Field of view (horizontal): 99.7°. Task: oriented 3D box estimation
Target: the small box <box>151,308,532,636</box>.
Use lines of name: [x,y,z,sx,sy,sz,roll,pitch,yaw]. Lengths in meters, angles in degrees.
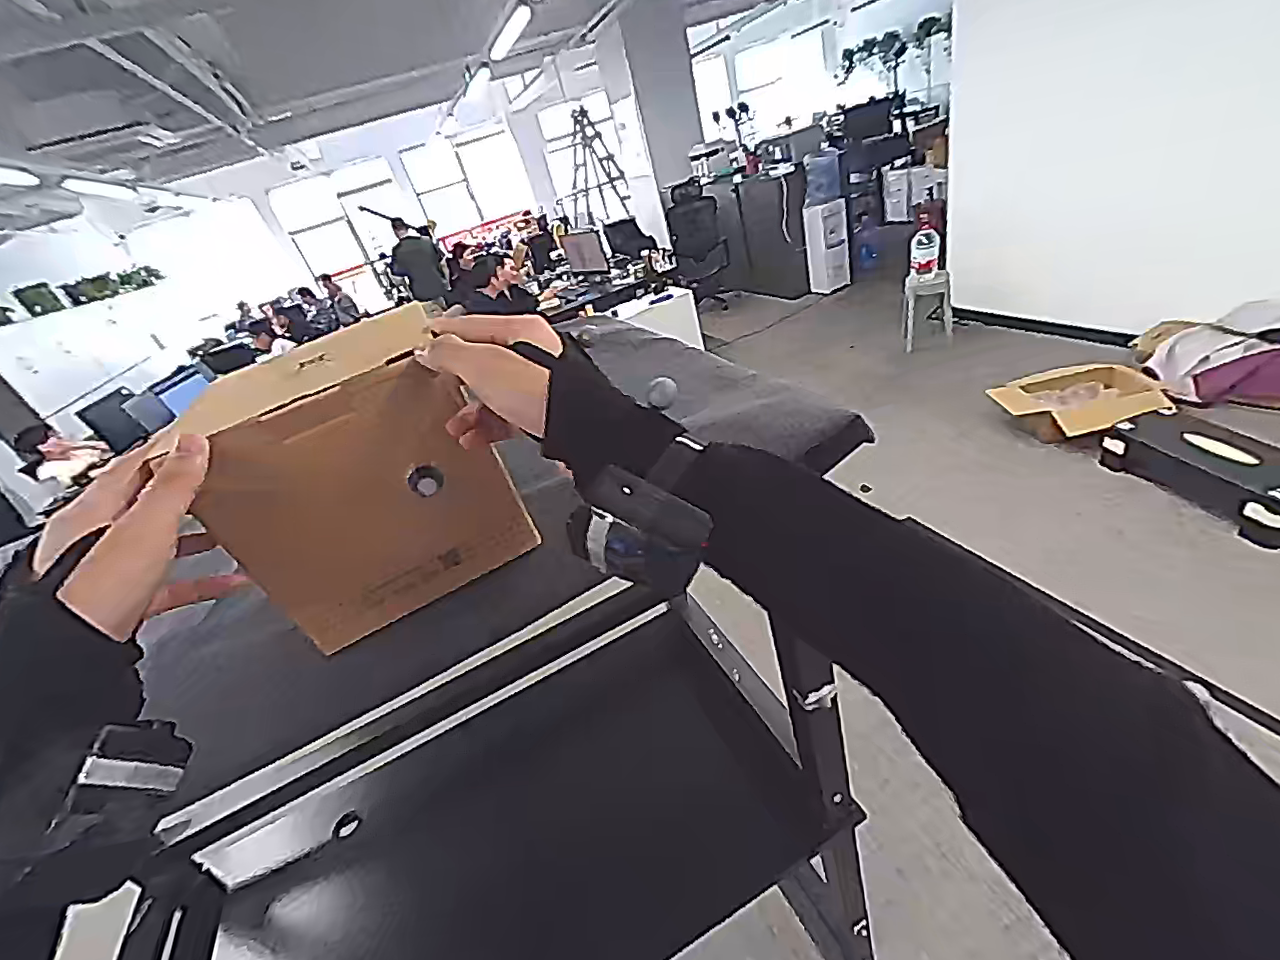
small box: [-0.200,-0.008,0.413,0.168,0.176,0.179,-26,33,-13]
